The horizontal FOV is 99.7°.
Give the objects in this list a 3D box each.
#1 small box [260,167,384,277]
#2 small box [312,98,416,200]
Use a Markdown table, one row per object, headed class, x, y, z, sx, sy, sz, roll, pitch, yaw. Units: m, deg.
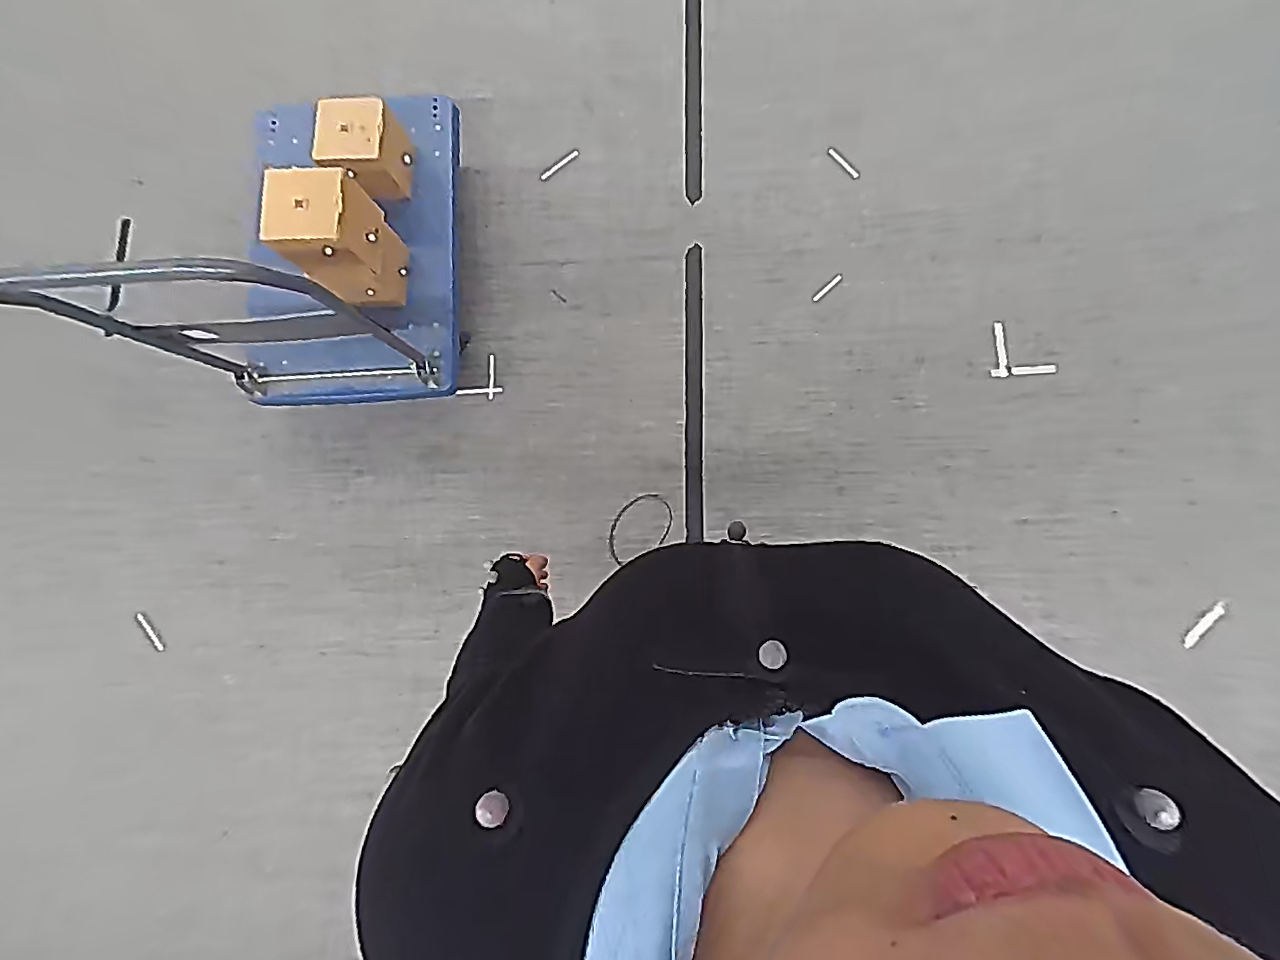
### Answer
| class | x | y | z | sx | sy | sz | roll | pitch | yaw |
| --- | --- | --- | --- | --- | --- | --- | --- | --- | --- |
| small box | -0.712 | -0.575 | 1.225 | 0.179 | 0.176 | 0.168 | 0 | 83 | 3 |
| small box | -0.719 | -0.862 | 1.422 | 0.179 | 0.176 | 0.168 | 2 | 84 | 4 |
